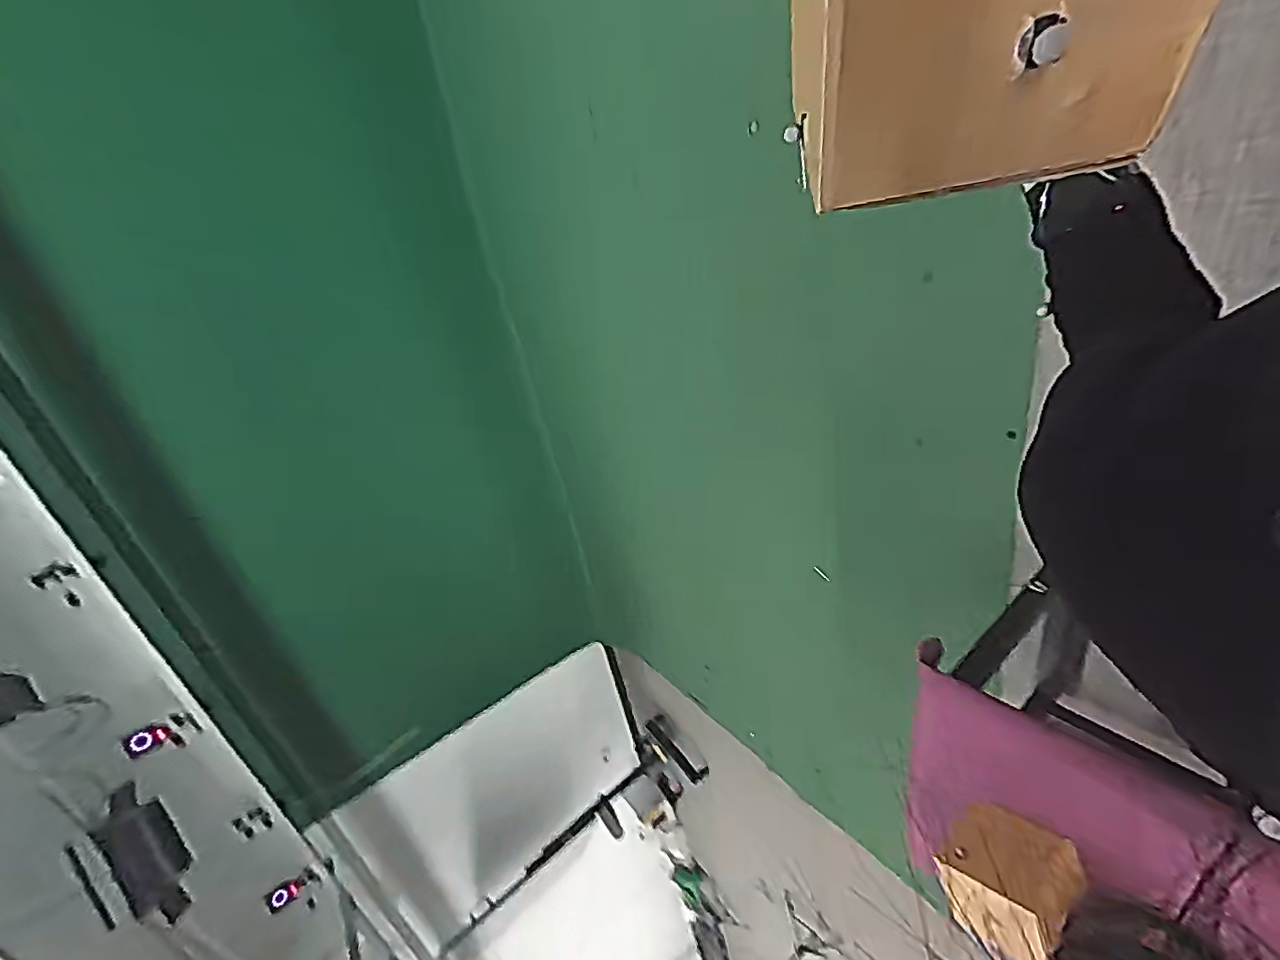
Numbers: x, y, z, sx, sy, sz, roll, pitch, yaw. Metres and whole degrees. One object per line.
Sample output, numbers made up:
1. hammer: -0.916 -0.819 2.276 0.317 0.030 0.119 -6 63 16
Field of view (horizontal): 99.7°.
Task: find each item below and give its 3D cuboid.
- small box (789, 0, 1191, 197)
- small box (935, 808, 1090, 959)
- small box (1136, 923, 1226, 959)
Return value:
1. small box: 0.177 -0.290 0.287 0.176 0.179 0.168 68 -159 -53
2. small box: 0.691 0.755 0.997 0.179 0.176 0.168 -7 108 60
3. small box: 0.848 0.831 0.805 0.179 0.176 0.168 28 135 47
